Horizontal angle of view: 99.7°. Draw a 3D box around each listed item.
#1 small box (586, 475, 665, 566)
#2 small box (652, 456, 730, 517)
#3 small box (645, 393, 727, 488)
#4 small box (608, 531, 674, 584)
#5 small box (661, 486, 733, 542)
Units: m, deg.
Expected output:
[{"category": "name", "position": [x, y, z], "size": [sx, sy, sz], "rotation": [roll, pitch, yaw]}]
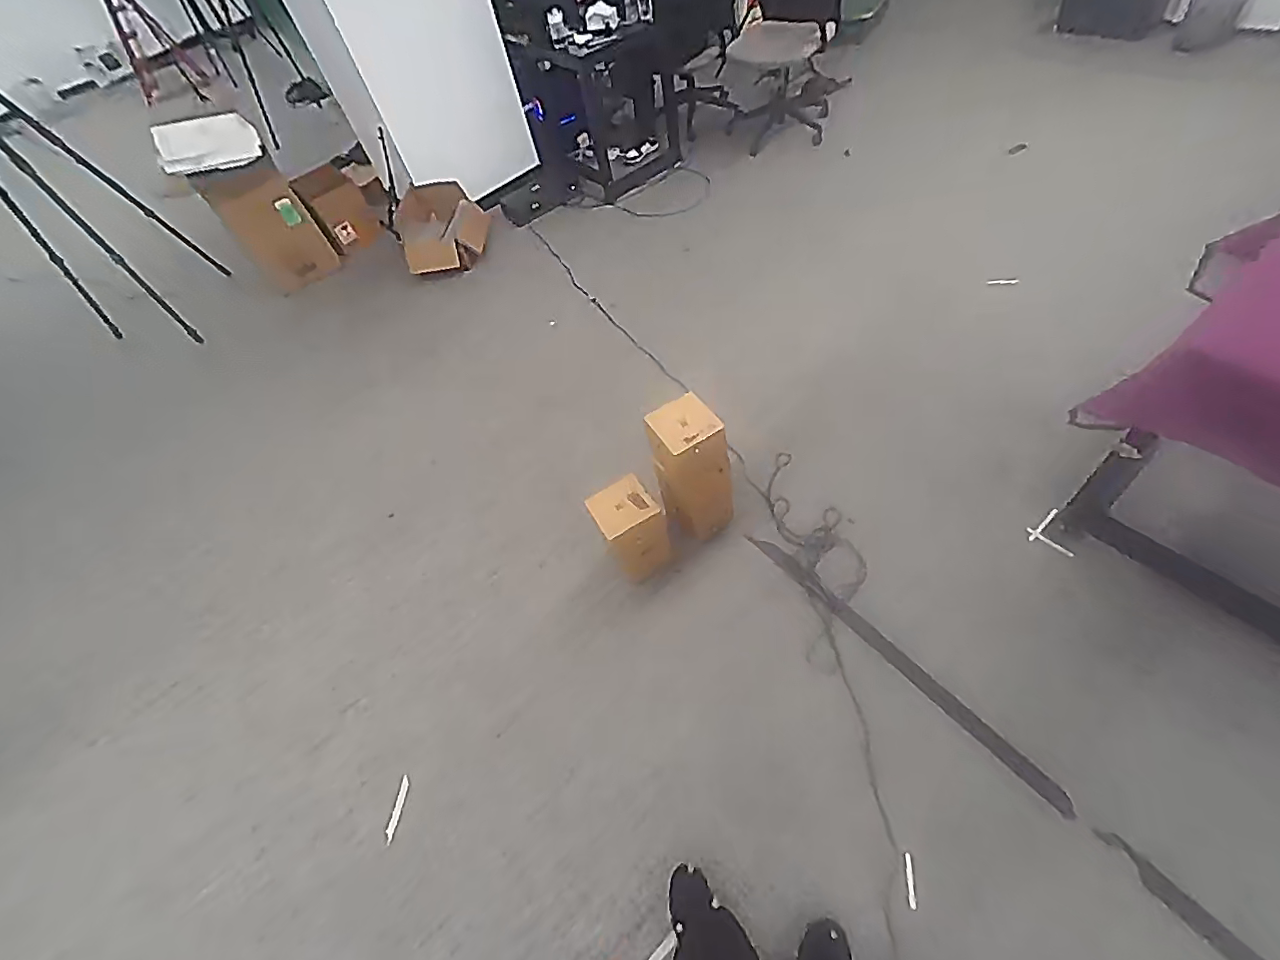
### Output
[{"category": "small box", "position": [-0.036, 0.124, 1.619], "size": [0.179, 0.176, 0.168], "rotation": [-30, 54, -9]}, {"category": "small box", "position": [0.165, -0.017, 1.681], "size": [0.179, 0.176, 0.168], "rotation": [-36, 55, -13]}, {"category": "small box", "position": [0.134, -0.109, 1.548], "size": [0.168, 0.176, 0.179], "rotation": [-30, 53, -9]}, {"category": "small box", "position": [-0.010, 0.205, 1.760], "size": [0.168, 0.176, 0.179], "rotation": [-34, 55, -11]}, {"category": "small box", "position": [0.193, 0.075, 1.811], "size": [0.168, 0.176, 0.179], "rotation": [-38, 56, -14]}]
